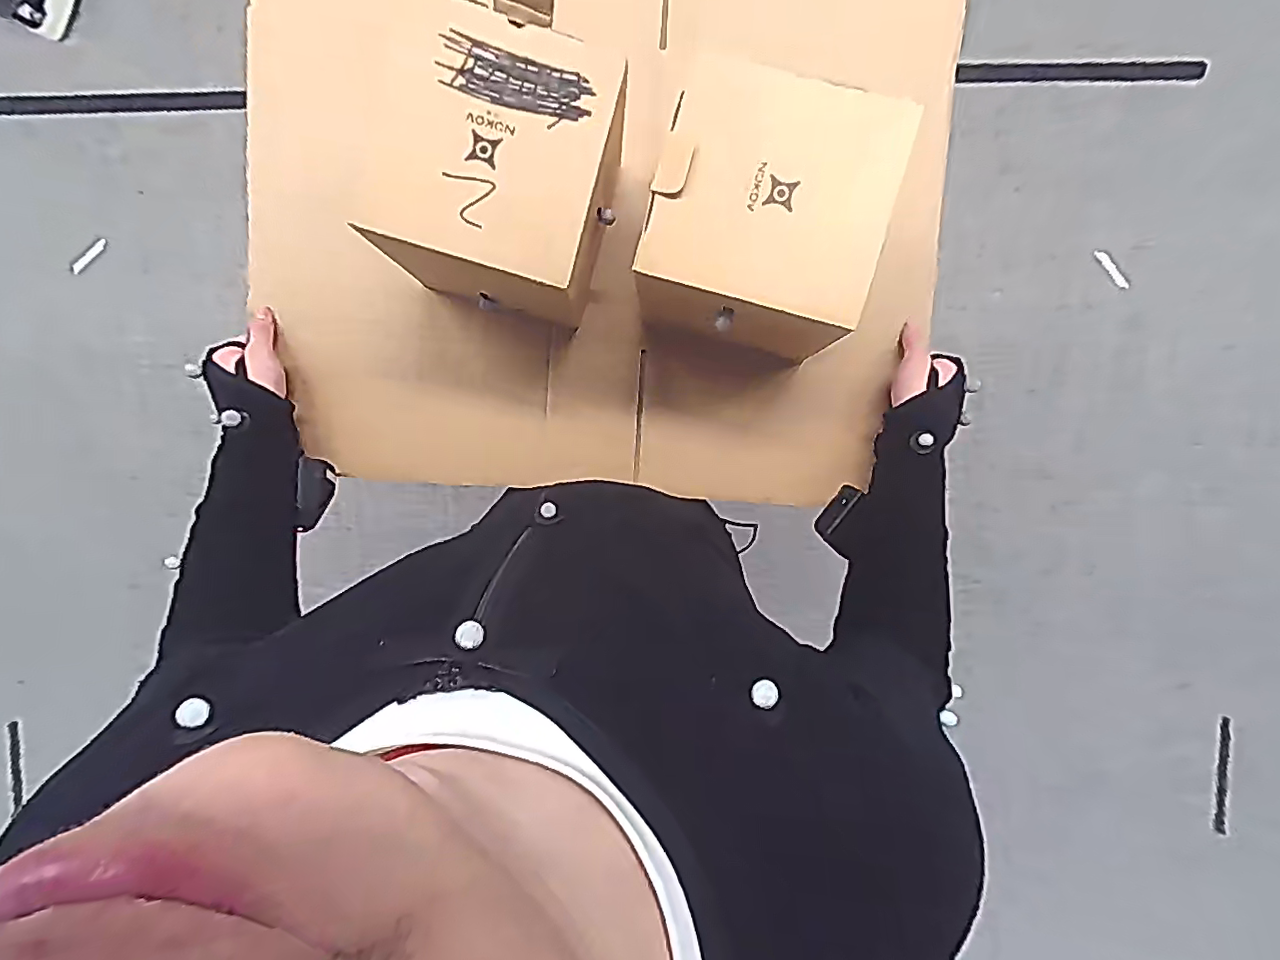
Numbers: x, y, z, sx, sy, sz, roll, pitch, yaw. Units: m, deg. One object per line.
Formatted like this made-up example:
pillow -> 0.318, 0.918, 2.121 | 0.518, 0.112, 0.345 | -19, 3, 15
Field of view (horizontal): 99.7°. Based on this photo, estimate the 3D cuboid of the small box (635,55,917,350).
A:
small box -> 0.106, -0.224, 0.488 | 0.179, 0.176, 0.168 | 16, 96, 3
